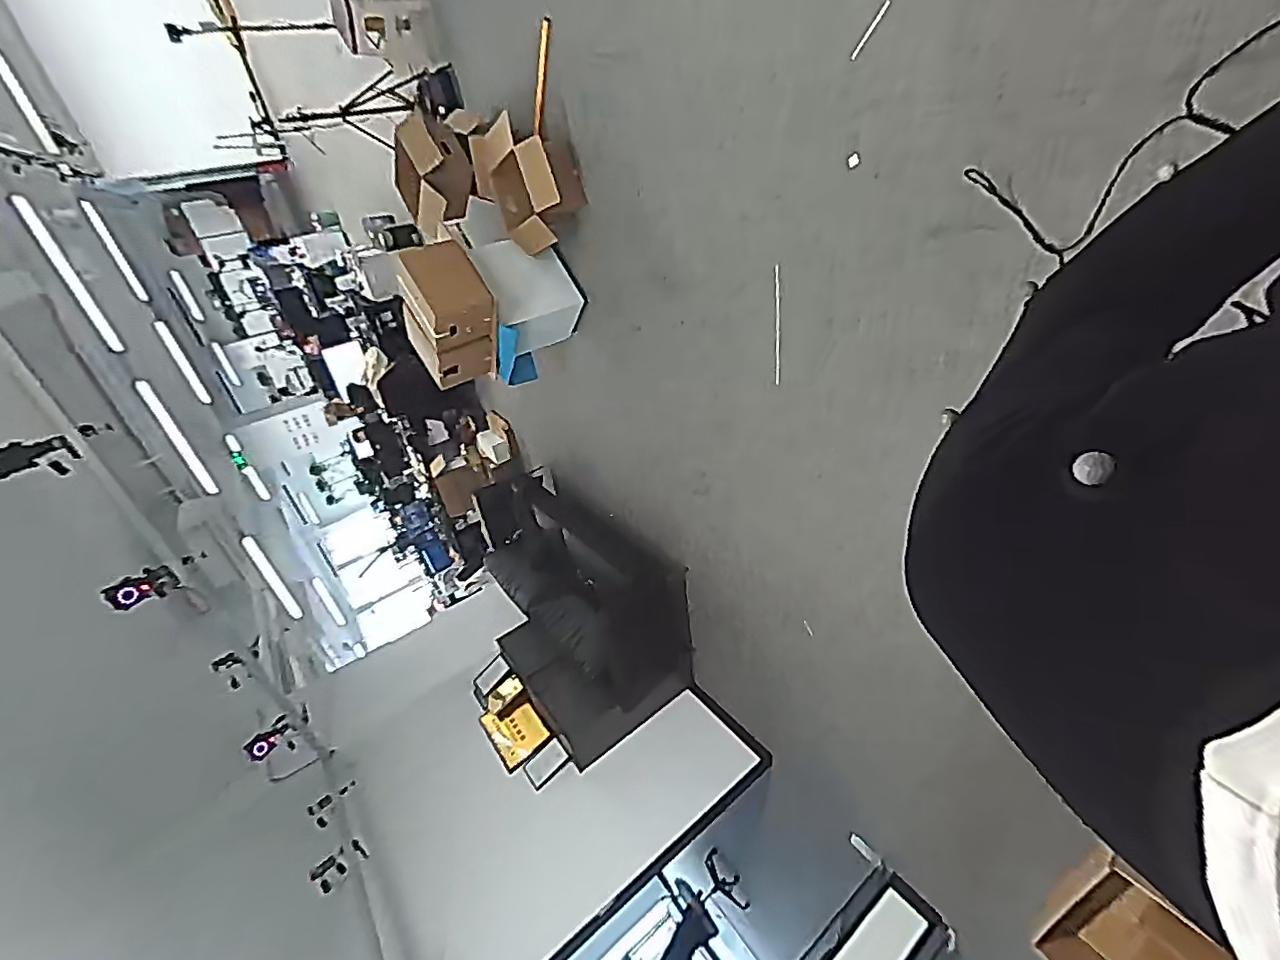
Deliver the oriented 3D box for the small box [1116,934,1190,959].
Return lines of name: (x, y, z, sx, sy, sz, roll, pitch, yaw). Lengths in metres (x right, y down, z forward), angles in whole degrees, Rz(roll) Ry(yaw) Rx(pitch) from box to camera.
small box: (1.160, 1.155, 1.189, 0.179, 0.176, 0.168, 32, 142, 45)
